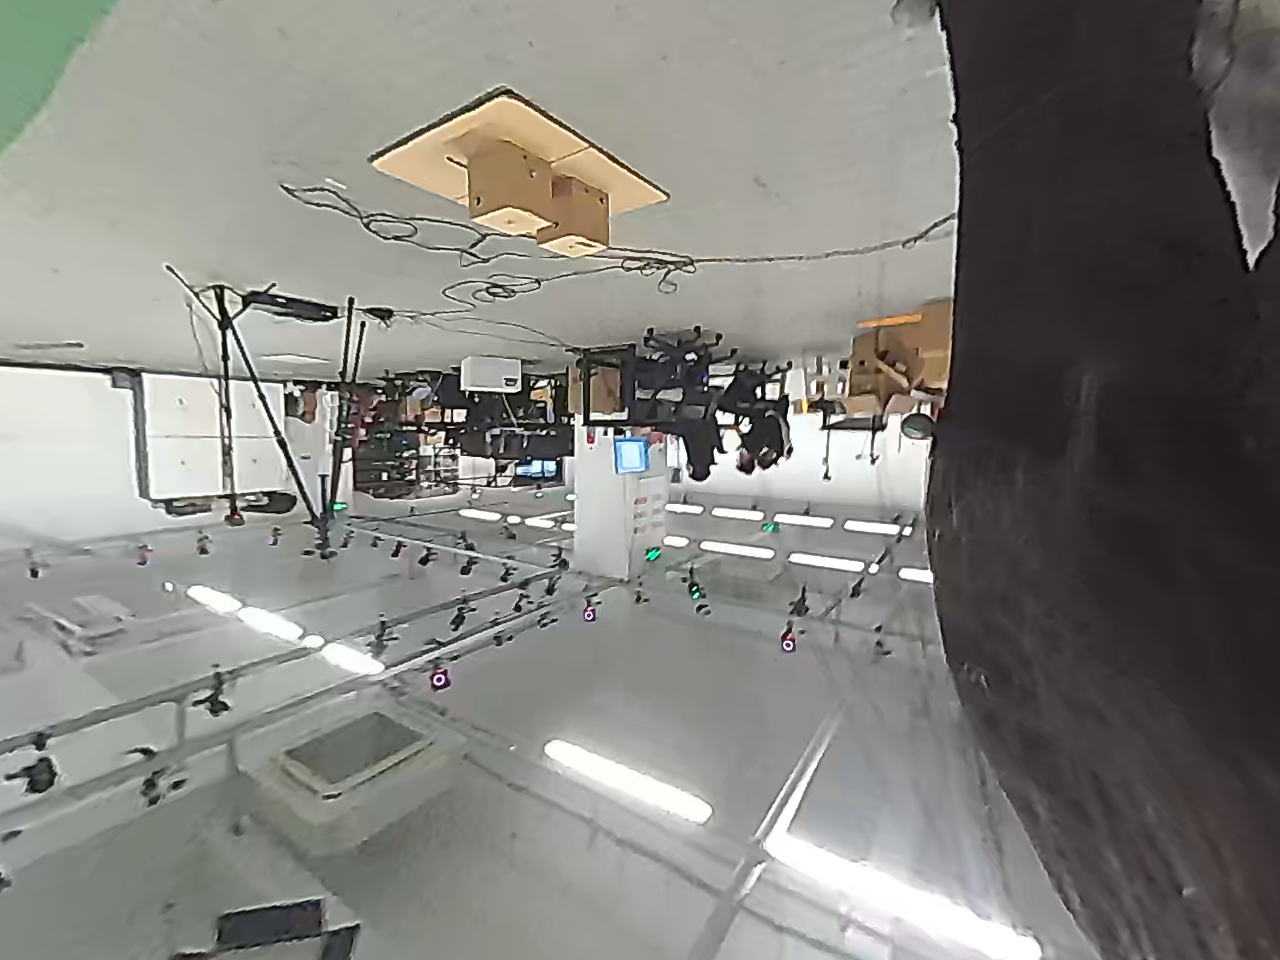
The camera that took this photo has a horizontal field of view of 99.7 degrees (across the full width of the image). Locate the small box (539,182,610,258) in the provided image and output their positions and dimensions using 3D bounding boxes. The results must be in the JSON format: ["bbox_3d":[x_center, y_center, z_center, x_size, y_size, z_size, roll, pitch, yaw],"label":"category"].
[{"bbox_3d":[-0.215,-0.840,1.754,0.179,0.176,0.168,5,-172,40],"label":"small box"}]

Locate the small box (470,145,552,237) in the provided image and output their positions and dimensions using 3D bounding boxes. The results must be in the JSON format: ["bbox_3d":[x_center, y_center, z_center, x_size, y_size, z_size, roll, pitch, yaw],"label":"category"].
[{"bbox_3d":[-0.370,-0.826,1.556,0.179,0.176,0.168,4,-173,35],"label":"small box"}]
